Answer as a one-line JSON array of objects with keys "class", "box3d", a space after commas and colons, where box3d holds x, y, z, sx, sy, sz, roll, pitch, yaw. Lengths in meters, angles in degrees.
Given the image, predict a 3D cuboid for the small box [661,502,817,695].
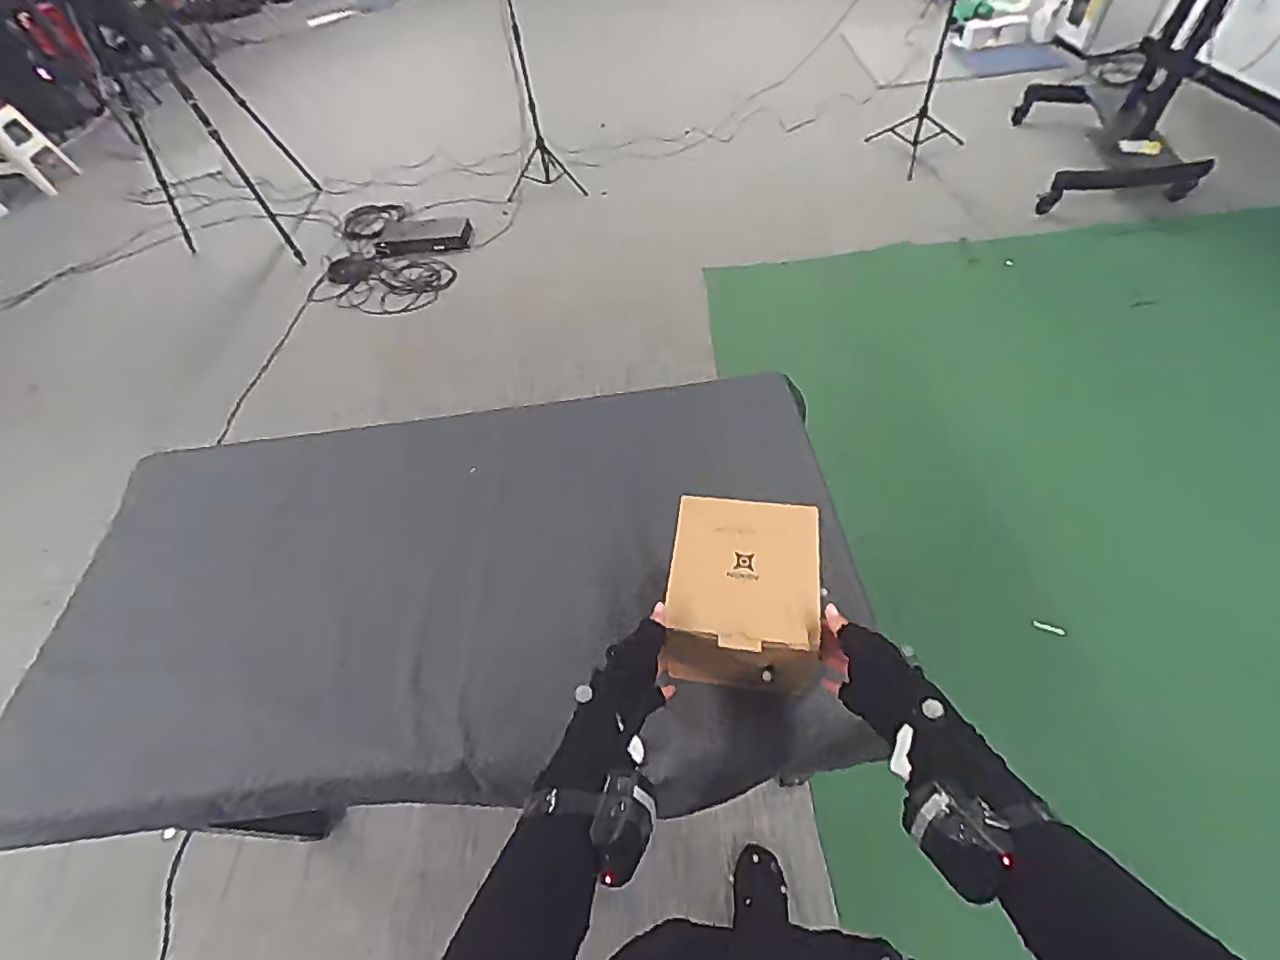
[{"class": "small box", "box3d": [0.123, 0.150, 0.673, 0.168, 0.176, 0.179, 4, 52, 9]}]
